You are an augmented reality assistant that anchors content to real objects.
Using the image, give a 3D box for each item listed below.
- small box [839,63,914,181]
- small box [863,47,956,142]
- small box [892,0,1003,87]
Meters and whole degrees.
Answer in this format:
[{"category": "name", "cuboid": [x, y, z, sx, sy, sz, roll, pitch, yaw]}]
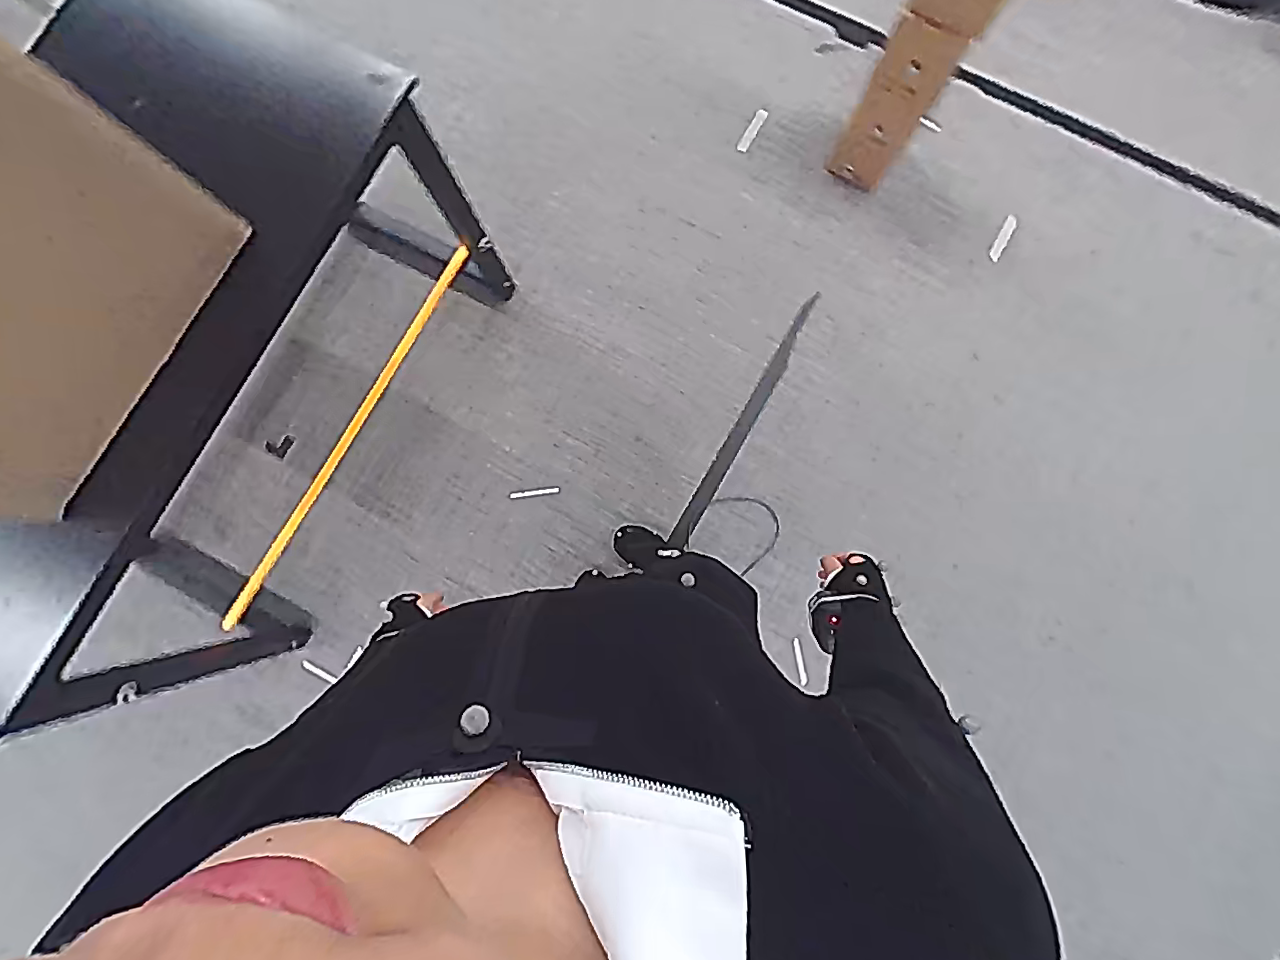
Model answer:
[{"category": "small box", "cuboid": [0.662, -0.956, 1.451, 0.168, 0.176, 0.179, 28, 86, 5]}, {"category": "small box", "cuboid": [0.661, -0.961, 1.285, 0.168, 0.176, 0.179, 29, 85, 5]}, {"category": "small box", "cuboid": [0.657, -0.977, 1.123, 0.168, 0.176, 0.179, 29, 86, 4]}]
